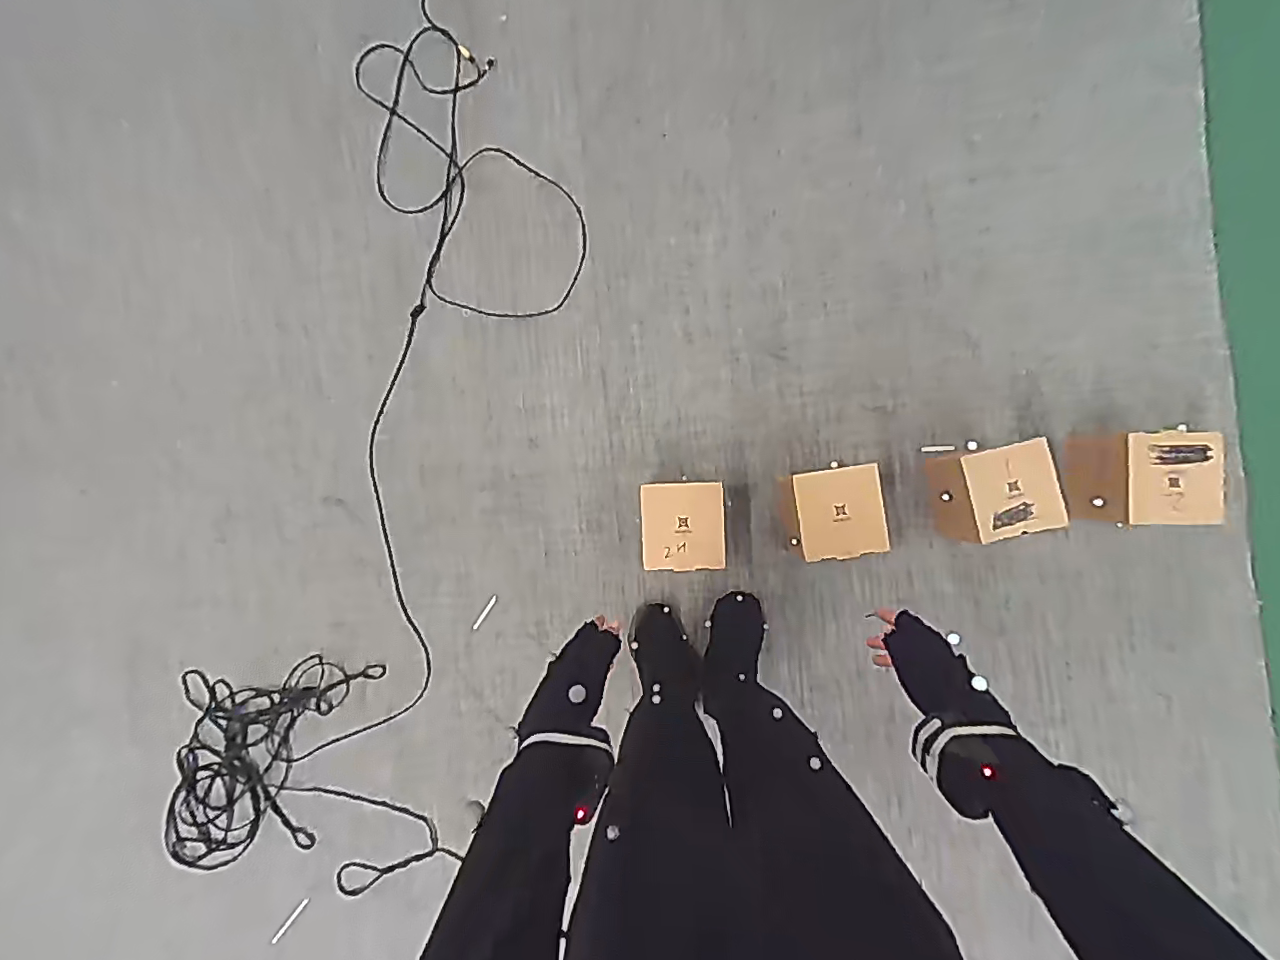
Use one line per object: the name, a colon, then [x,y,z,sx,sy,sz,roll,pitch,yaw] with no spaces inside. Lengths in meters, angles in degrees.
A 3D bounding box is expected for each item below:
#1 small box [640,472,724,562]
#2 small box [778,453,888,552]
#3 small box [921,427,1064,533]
small box: [0.090,0.076,1.153,0.168,0.176,0.179,-2,90,6]
small box: [0.393,0.045,1.129,0.168,0.176,0.179,-9,90,6]
small box: [0.706,0.000,1.102,0.168,0.176,0.179,-14,88,4]
